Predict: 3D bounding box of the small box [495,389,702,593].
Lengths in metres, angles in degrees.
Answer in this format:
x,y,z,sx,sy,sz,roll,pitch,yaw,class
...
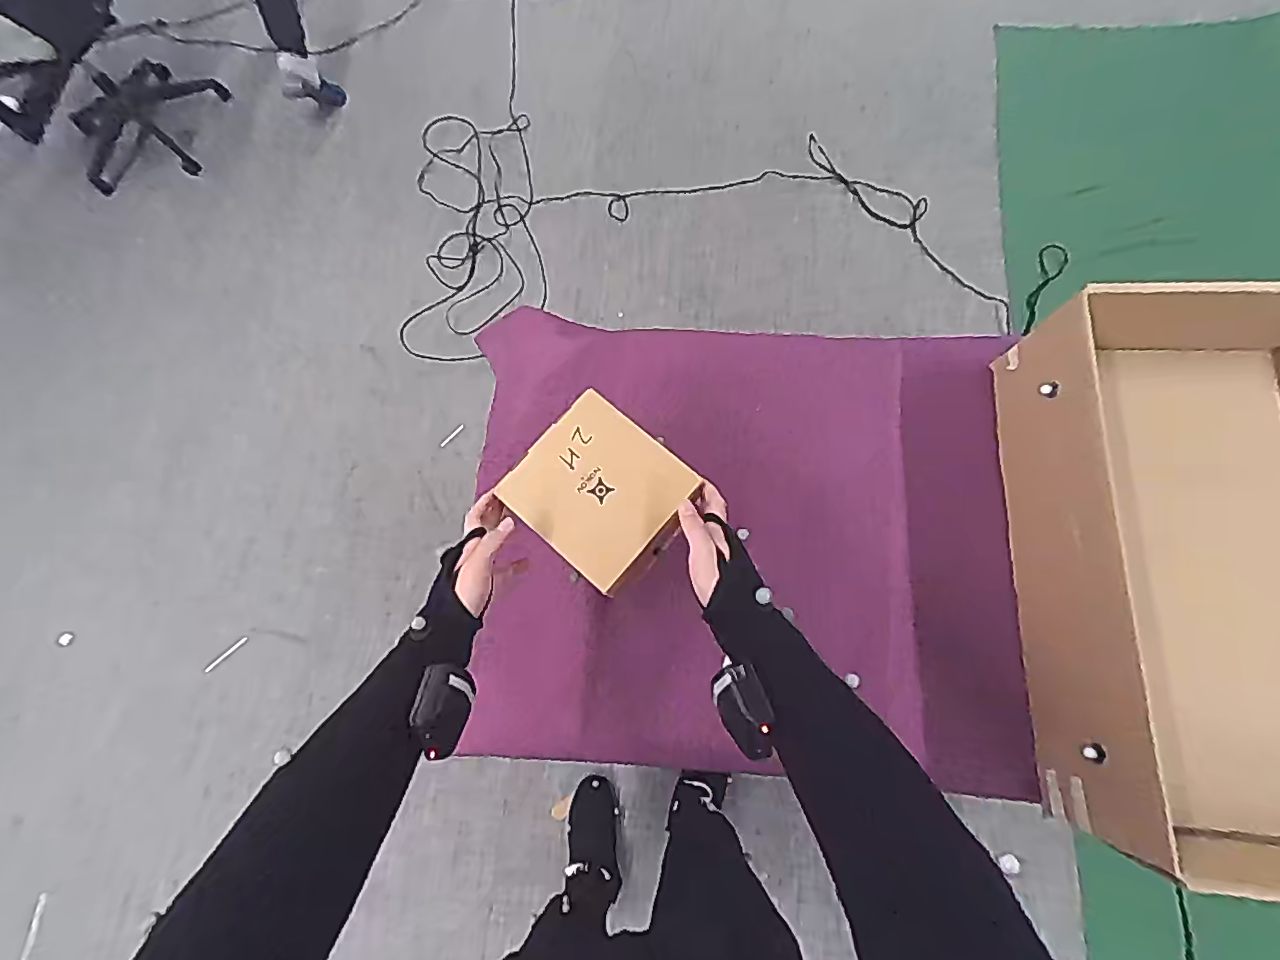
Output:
x,y,z,sx,sy,sz,roll,pitch,yaw,class
-0.042,0.024,0.677,0.179,0.176,0.168,41,82,12,small box
